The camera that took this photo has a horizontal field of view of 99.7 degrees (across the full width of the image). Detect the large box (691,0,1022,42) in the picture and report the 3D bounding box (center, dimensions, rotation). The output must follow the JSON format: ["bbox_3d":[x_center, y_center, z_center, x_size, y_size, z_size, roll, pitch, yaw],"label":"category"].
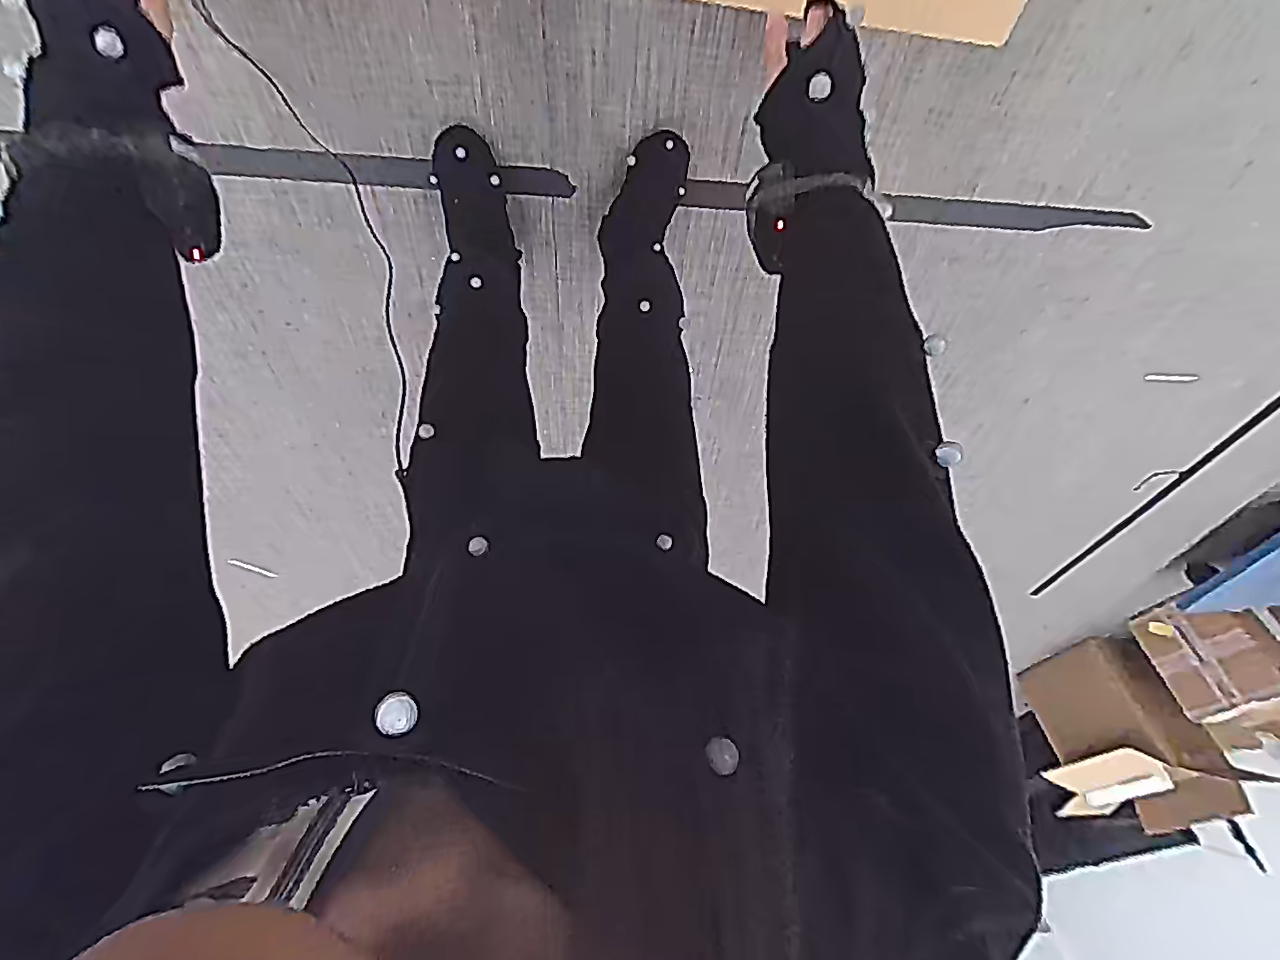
[{"bbox_3d":[0.234,-0.730,0.593,0.408,0.320,0.320,1,139,-9],"label":"large box"}]
